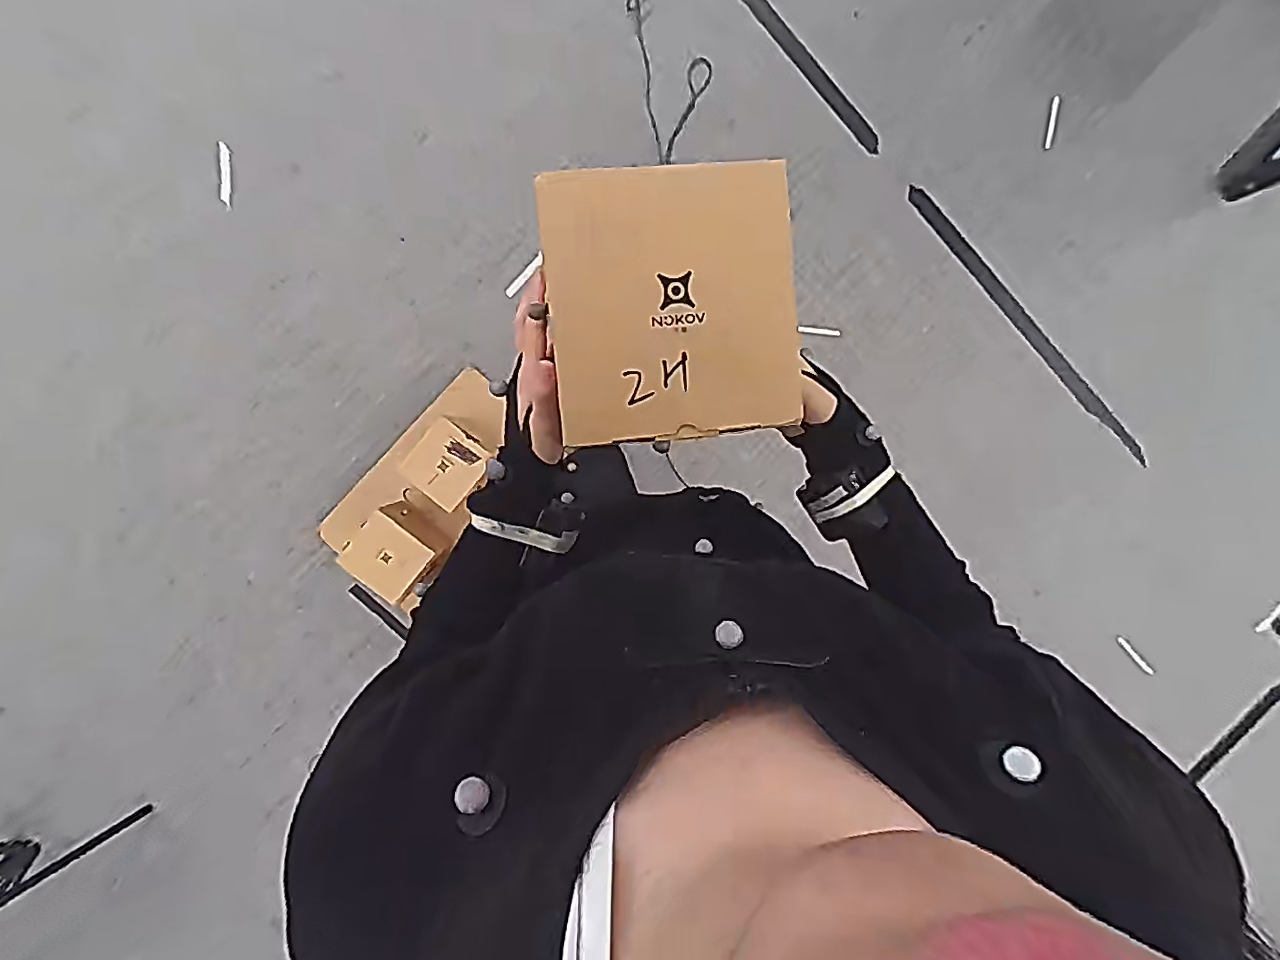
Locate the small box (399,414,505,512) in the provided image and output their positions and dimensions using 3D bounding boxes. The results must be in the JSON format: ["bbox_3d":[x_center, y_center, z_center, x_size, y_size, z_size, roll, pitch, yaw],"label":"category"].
[{"bbox_3d":[-0.458,-0.045,1.351,0.168,0.176,0.179,40,91,-5],"label":"small box"}]

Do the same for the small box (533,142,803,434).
[{"bbox_3d":[0.011,-0.130,0.424,0.168,0.176,0.179,-7,97,-6],"label":"small box"}]
